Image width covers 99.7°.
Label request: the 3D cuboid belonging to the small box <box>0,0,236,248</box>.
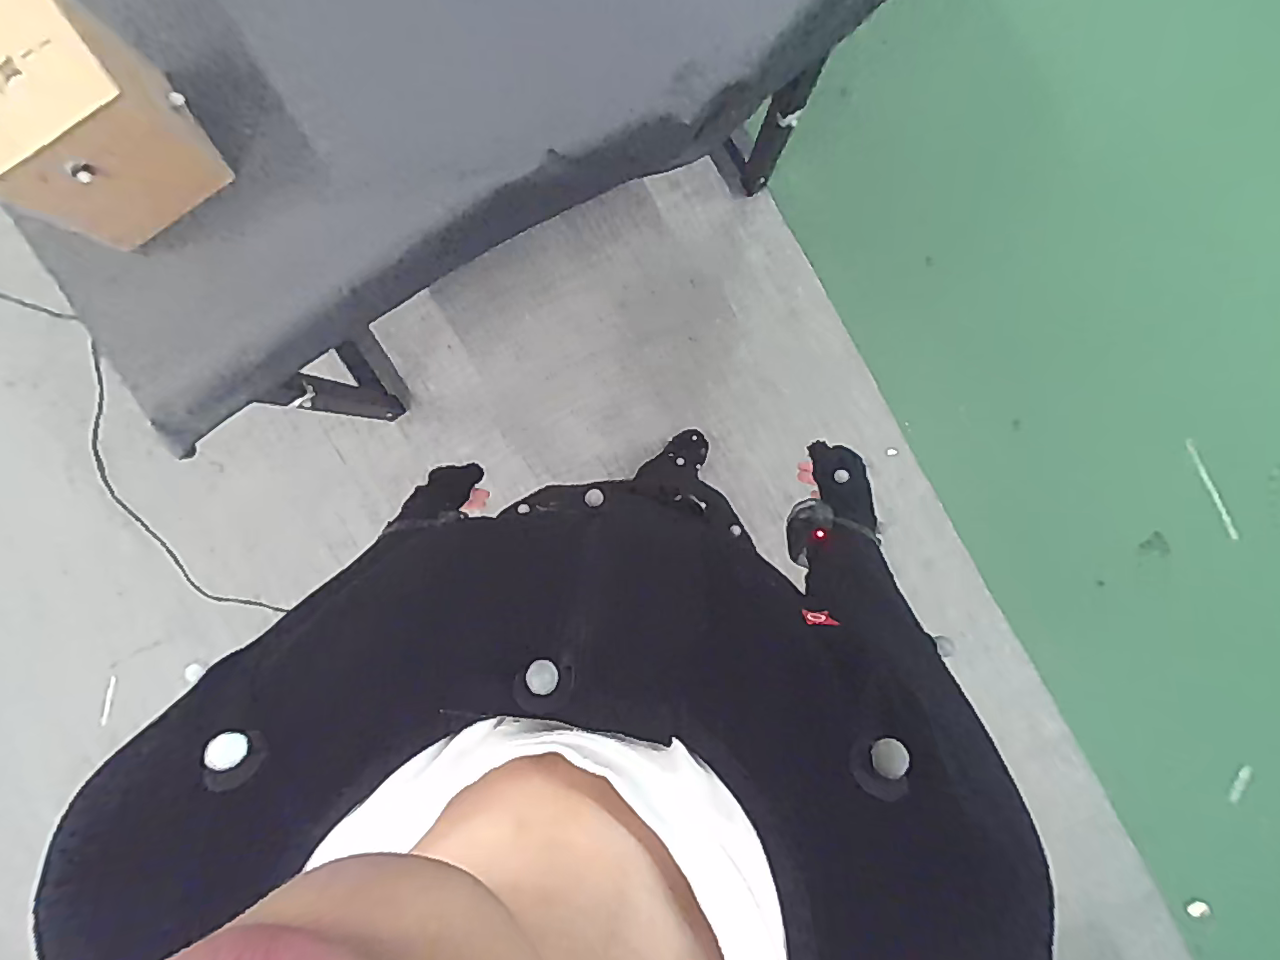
[{"bbox_3d":[-0.639,-0.410,0.632,0.179,0.176,0.168,-35,92,-1],"label":"small box"}]
